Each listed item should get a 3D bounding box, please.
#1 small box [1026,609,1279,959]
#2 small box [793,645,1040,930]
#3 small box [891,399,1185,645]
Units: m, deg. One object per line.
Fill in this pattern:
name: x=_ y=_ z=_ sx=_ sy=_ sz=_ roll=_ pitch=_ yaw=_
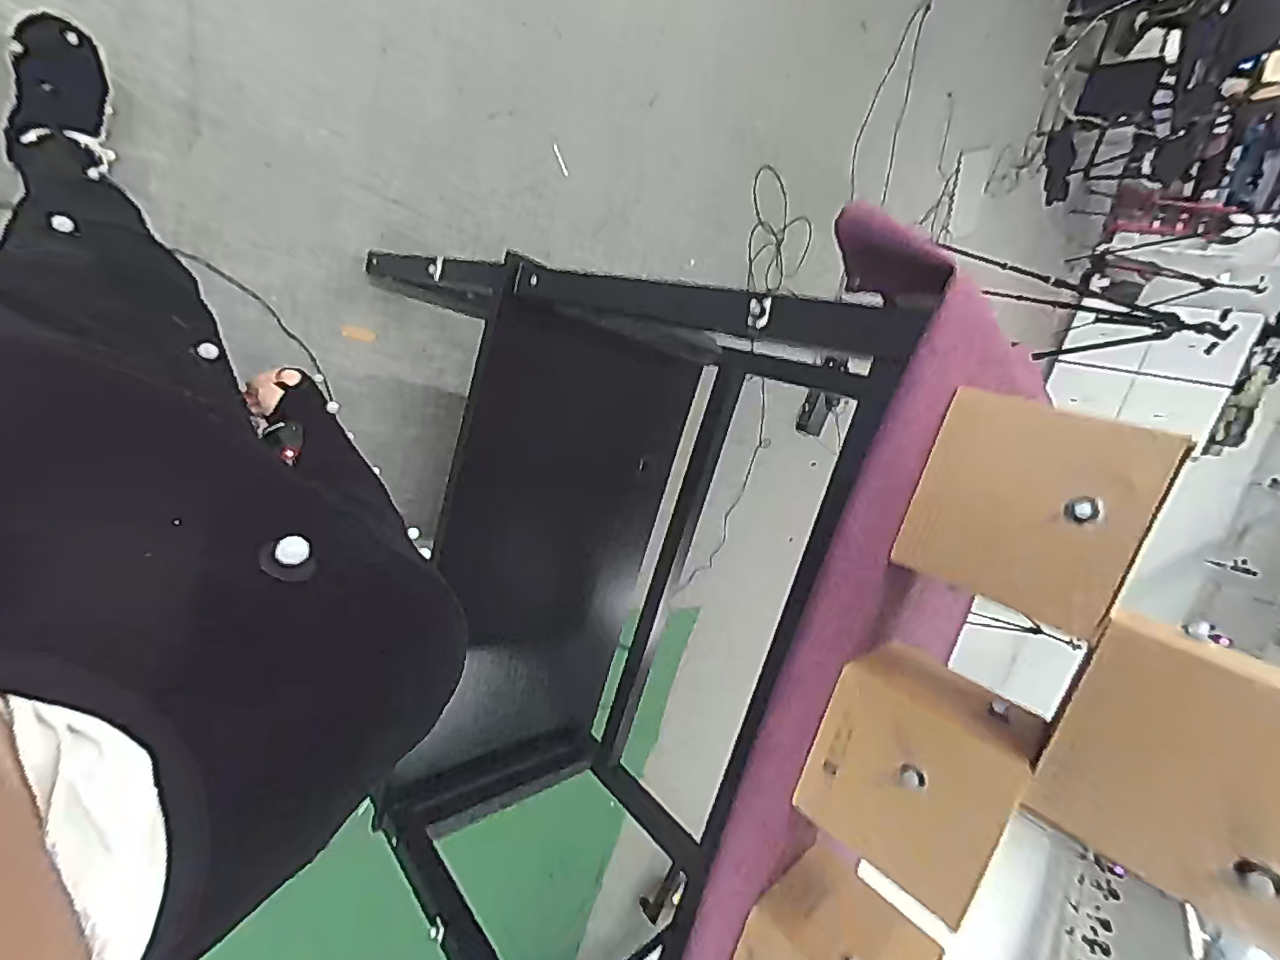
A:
small box: x=0.447 y=0.226 z=0.451 sx=0.168 sy=0.176 sz=0.179 roll=8 pitch=103 yaw=-50
small box: x=0.287 y=0.296 z=0.570 sx=0.179 sy=0.176 sz=0.168 roll=7 pitch=103 yaw=-50
small box: x=0.373 y=0.031 z=0.527 sx=0.168 sy=0.176 sz=0.179 roll=6 pitch=105 yaw=-48
